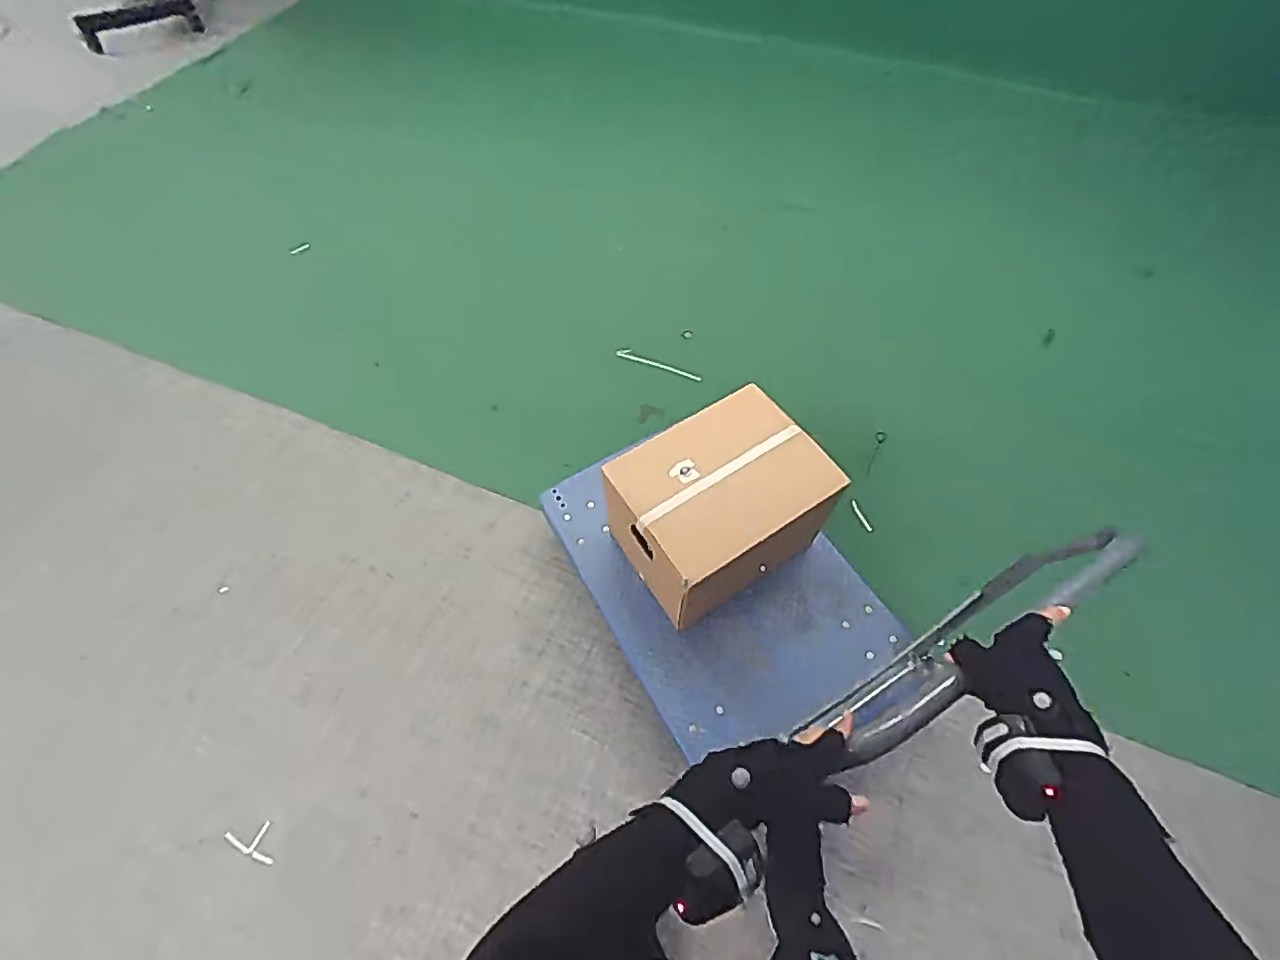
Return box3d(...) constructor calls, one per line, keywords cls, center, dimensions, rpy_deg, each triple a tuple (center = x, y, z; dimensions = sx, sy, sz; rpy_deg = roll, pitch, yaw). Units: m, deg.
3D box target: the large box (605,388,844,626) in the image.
box3d(cls="large box", center=(0.176, 0.067, 1.235), dimensions=(0.408, 0.320, 0.320), rpy_deg=(-30, 63, -15))
